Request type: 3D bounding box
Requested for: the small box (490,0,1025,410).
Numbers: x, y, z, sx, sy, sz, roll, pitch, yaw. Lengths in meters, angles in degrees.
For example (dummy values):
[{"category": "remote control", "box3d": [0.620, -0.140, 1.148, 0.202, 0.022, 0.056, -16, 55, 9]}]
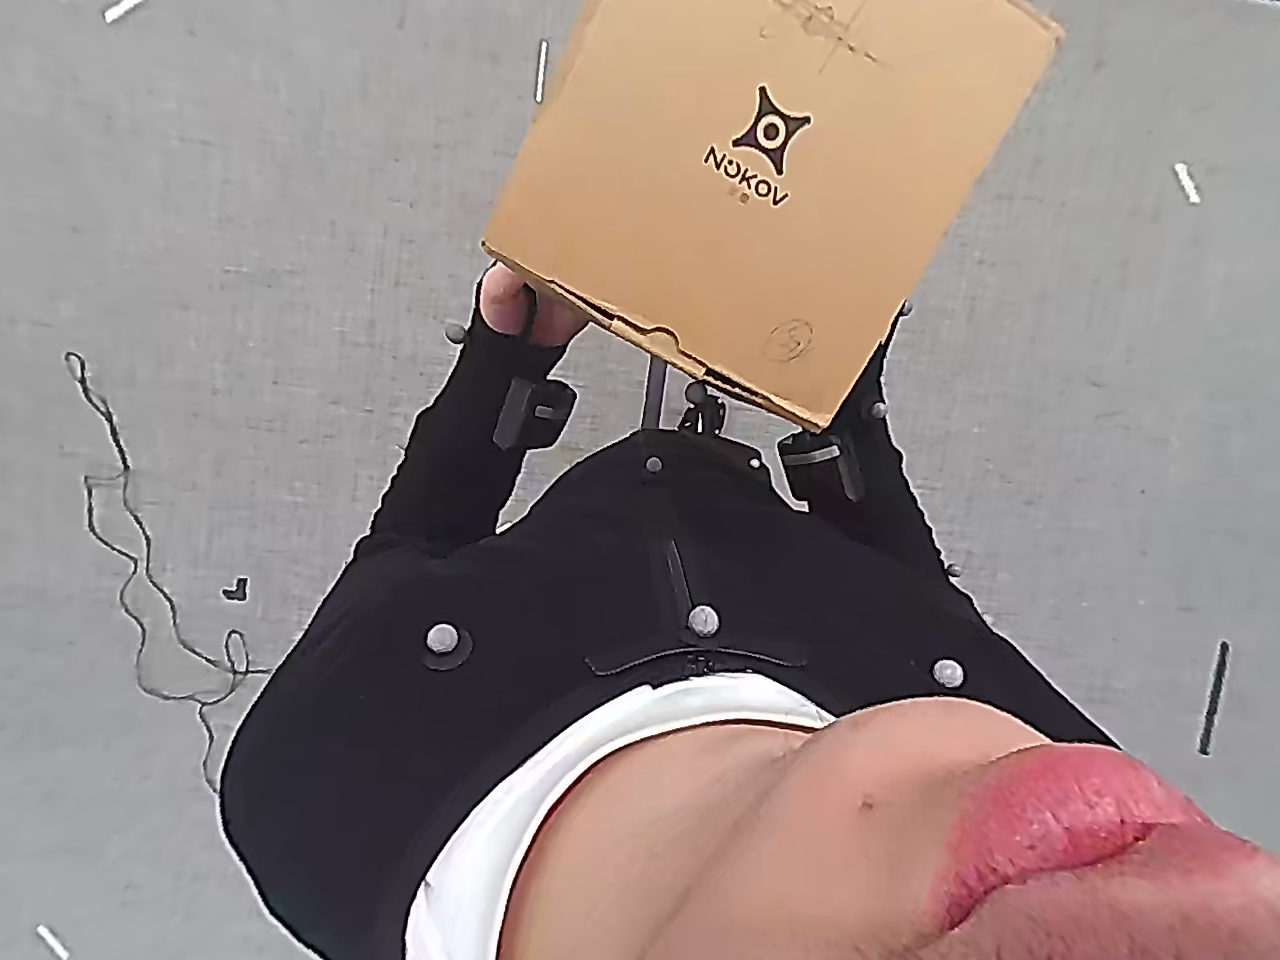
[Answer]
[{"category": "small box", "box3d": [0.042, -0.159, 0.299, 0.168, 0.176, 0.179, 26, 100, -10]}]
